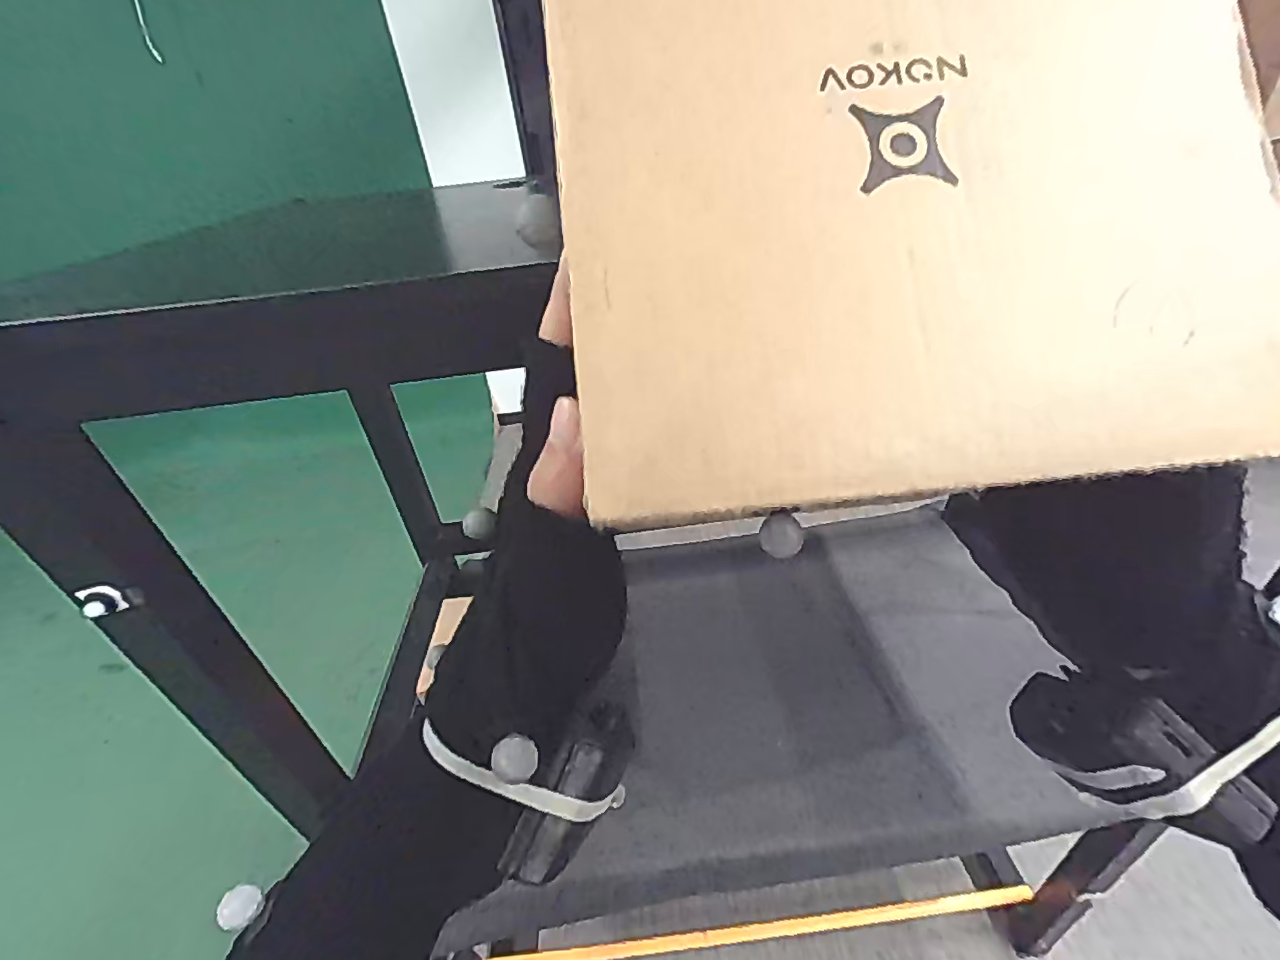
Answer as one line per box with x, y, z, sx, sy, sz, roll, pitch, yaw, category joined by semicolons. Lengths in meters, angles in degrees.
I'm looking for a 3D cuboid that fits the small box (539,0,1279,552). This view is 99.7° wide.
0.061;-0.069;0.213;0.168;0.179;0.176;-6;-6;0;small box

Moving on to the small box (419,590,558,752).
-0.229;0.304;0.869;0.168;0.176;0.179;-6;34;0;small box
